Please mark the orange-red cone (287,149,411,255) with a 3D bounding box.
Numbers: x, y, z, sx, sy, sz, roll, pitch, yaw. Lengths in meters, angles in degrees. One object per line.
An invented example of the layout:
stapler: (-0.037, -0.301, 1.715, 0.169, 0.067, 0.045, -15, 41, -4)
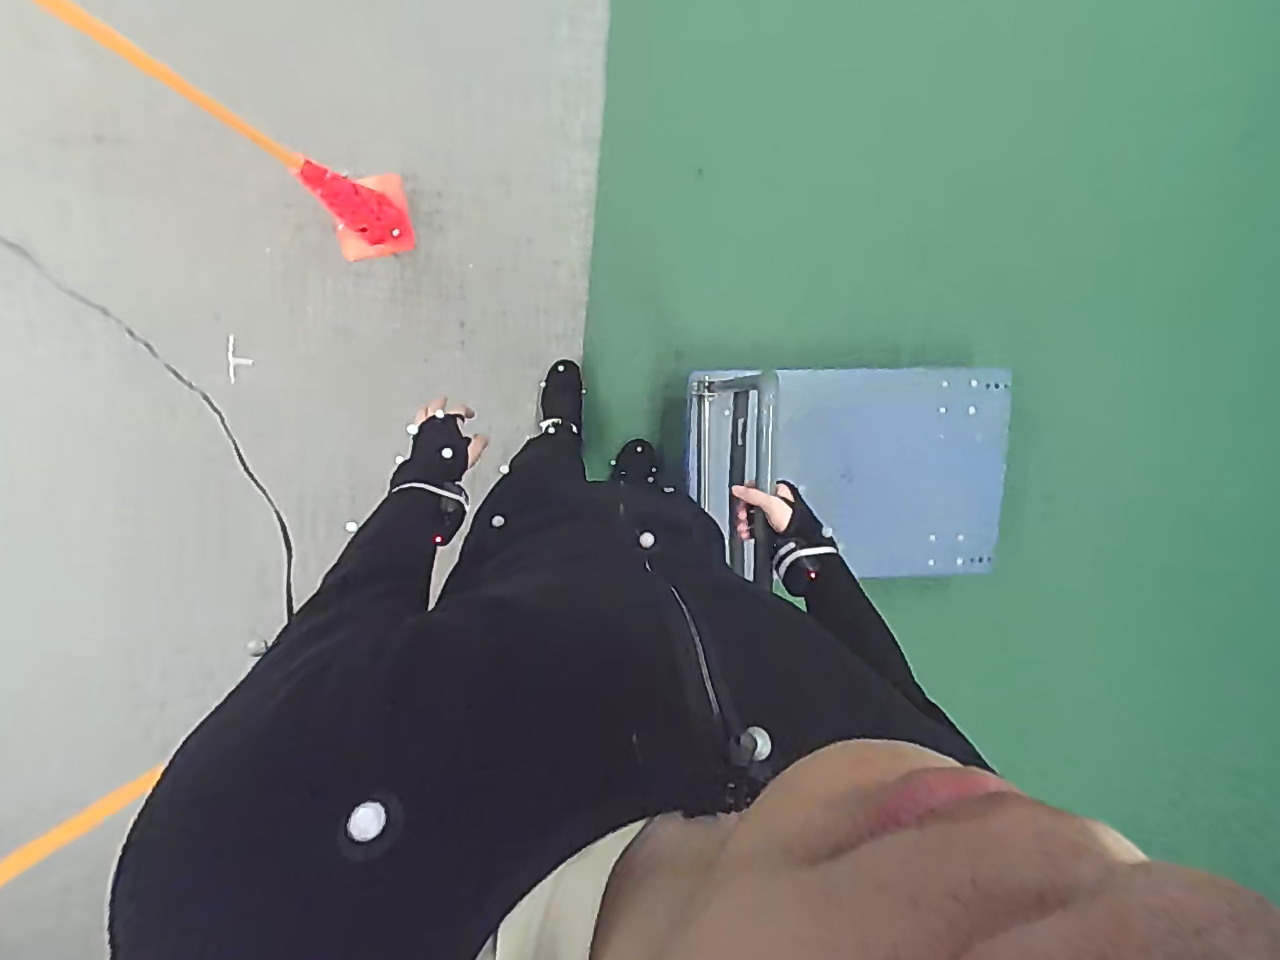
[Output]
orange-red cone: (-0.728, -0.699, 1.302, 0.198, 0.360, 0.199, -9, 98, -1)
